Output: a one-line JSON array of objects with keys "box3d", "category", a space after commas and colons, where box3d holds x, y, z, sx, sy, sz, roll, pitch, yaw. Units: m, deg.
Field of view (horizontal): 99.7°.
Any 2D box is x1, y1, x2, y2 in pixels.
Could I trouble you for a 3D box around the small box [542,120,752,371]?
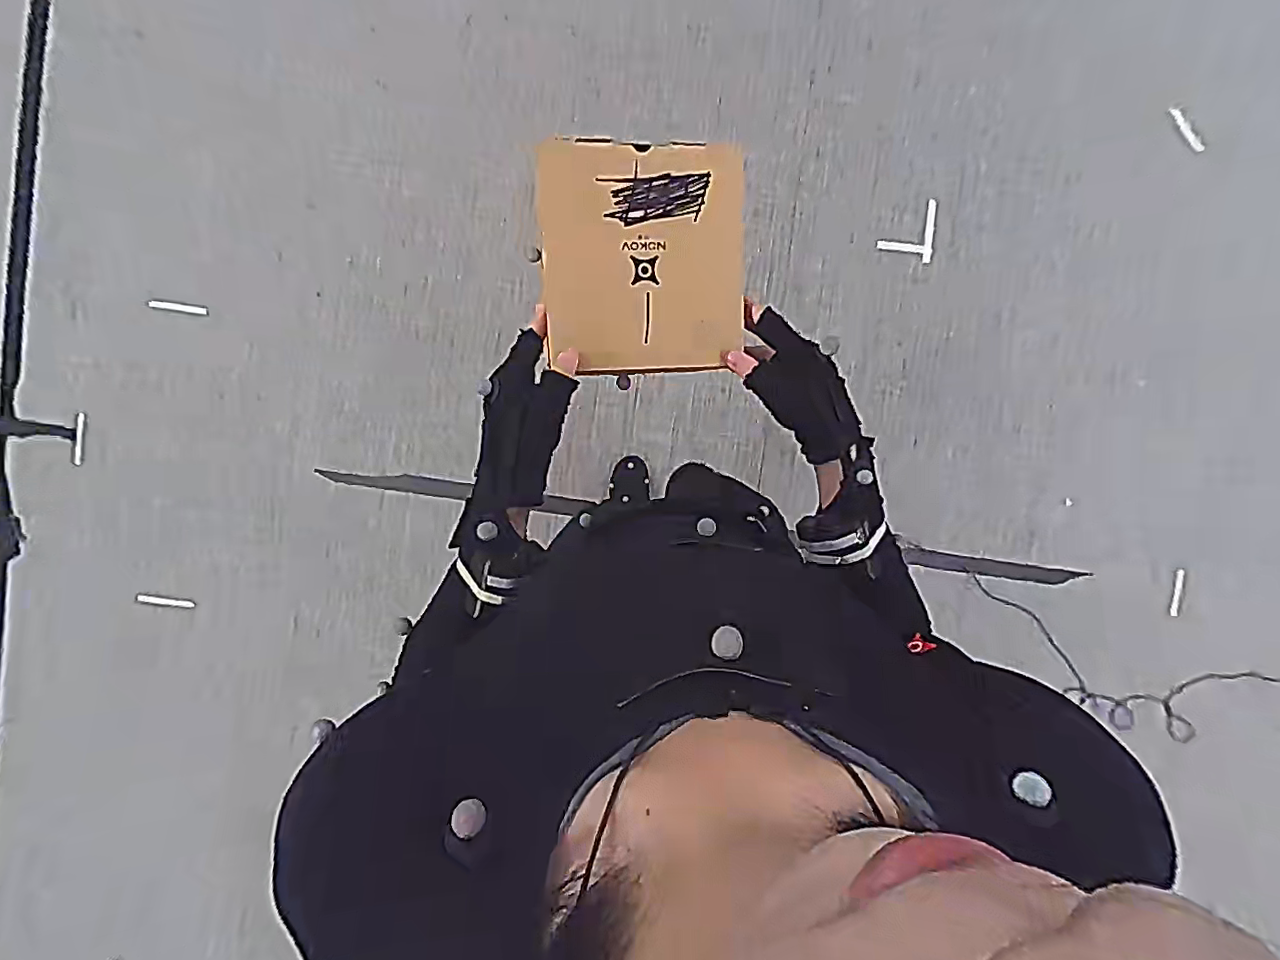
[{"box3d": [-0.005, -0.195, 0.501, 0.168, 0.176, 0.179, -3, 100, -9], "category": "small box"}]
